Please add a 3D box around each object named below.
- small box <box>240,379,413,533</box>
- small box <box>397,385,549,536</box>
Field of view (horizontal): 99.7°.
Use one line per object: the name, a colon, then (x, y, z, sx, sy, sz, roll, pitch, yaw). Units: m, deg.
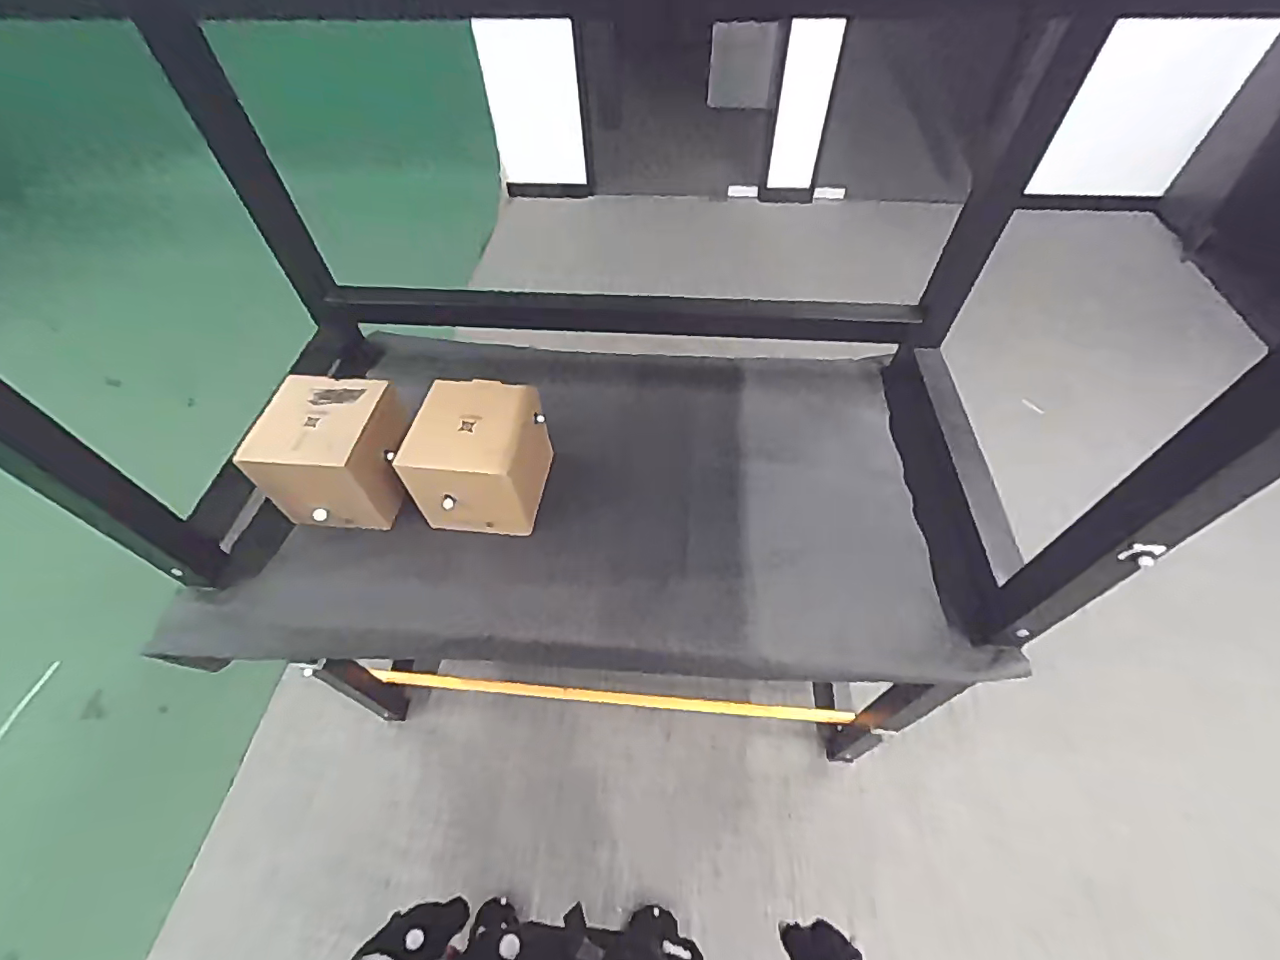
small box: (-0.476, -0.037, 0.869, 0.168, 0.176, 0.179, 4, 53, 4)
small box: (-0.249, -0.027, 0.860, 0.168, 0.176, 0.179, 5, 52, 4)
